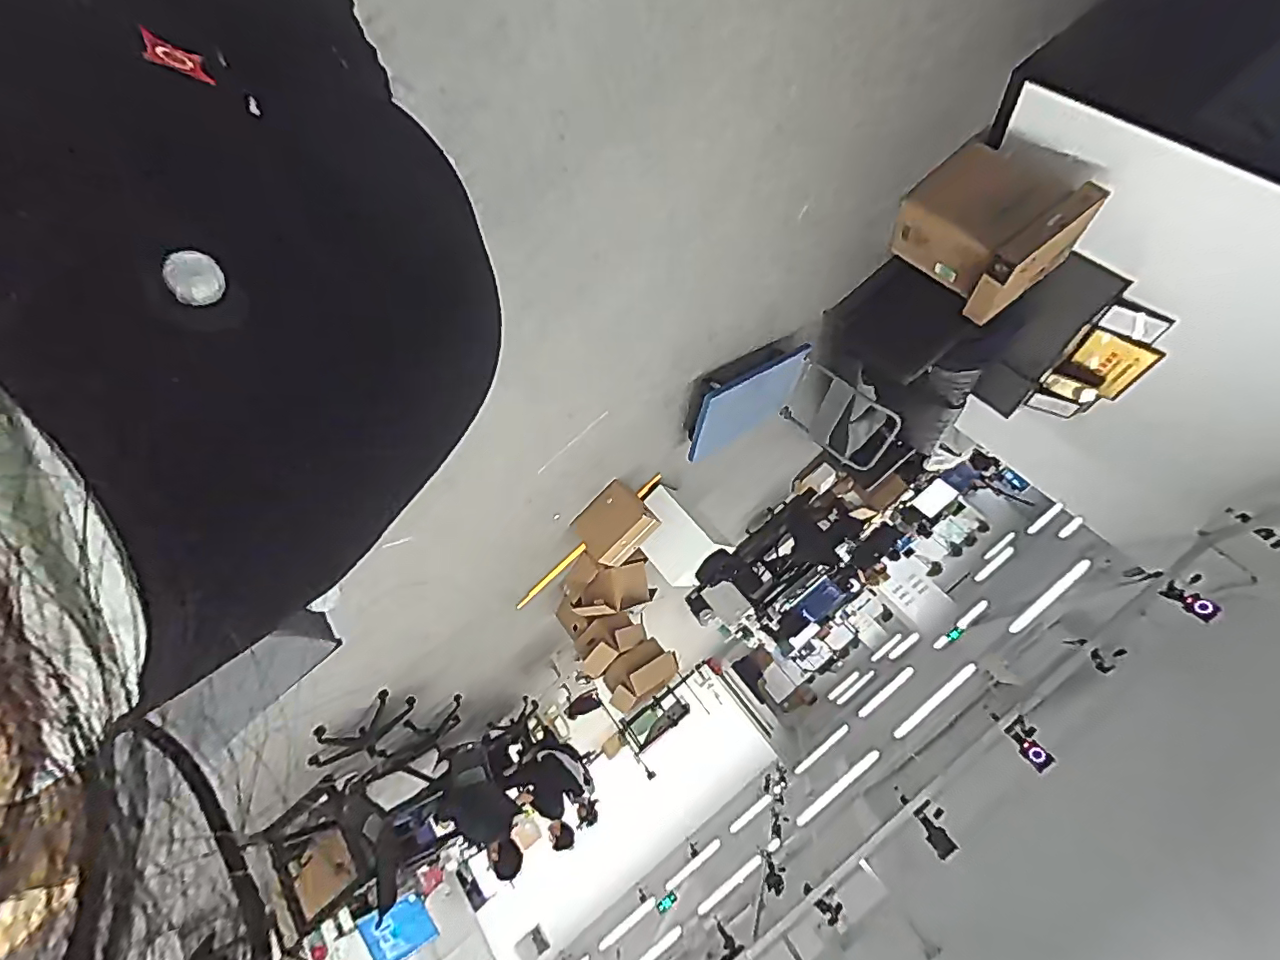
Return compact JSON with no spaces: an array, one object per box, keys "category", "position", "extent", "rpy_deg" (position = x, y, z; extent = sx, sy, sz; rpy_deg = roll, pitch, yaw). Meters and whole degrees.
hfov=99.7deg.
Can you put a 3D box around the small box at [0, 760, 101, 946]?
[{"category":"small box","position":[-0.891,0.511,0.722],"extent":[0.179,0.176,0.168],"rpy_deg":[-41,155,-1]}]

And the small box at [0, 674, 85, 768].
[{"category":"small box","position":[-0.988,0.401,0.791],"extent":[0.179,0.176,0.168],"rpy_deg":[-40,155,-1]}]
